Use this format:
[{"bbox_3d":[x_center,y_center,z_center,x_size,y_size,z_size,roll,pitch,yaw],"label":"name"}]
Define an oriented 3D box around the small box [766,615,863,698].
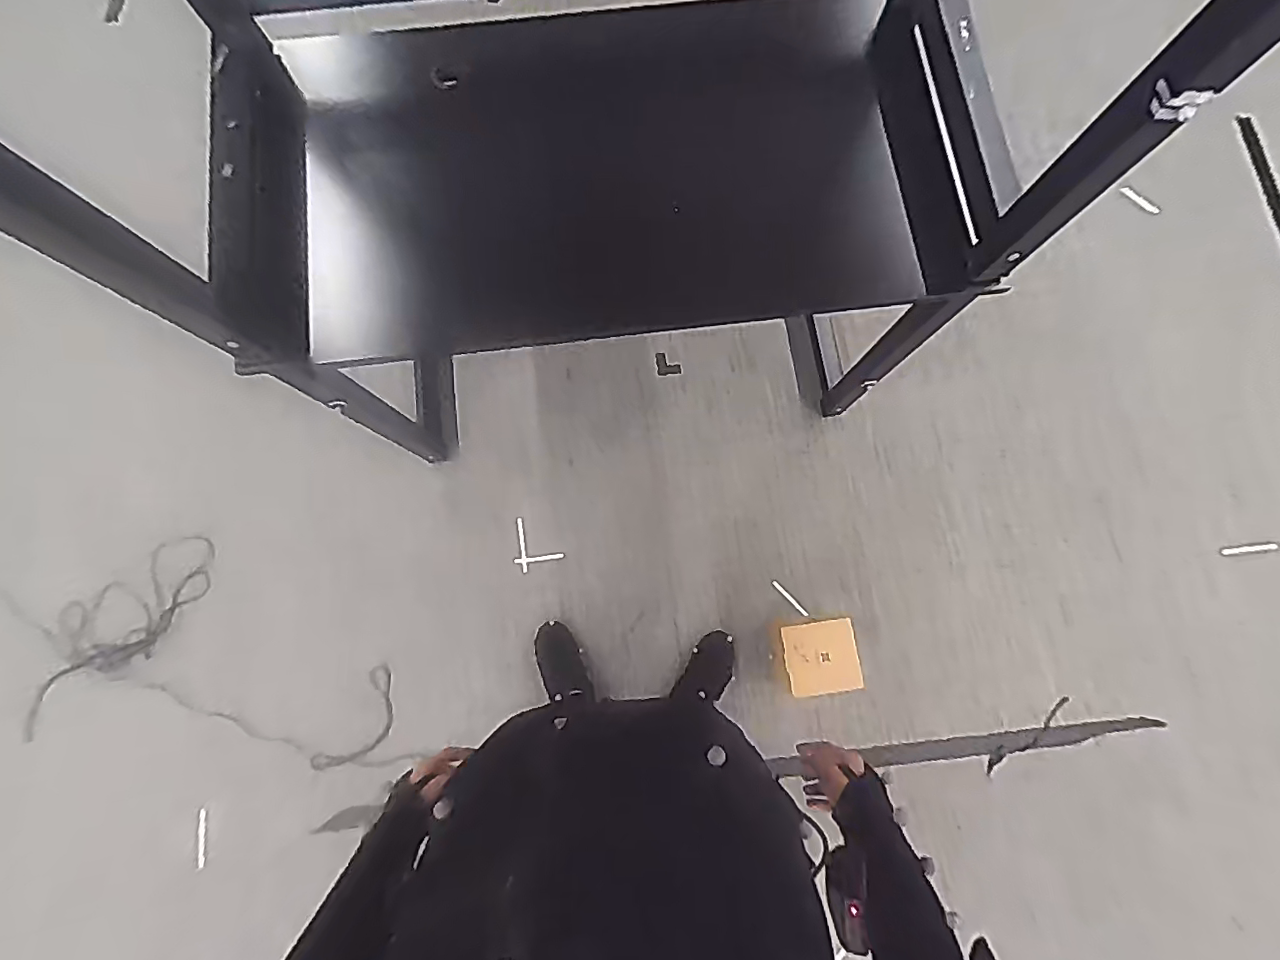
[{"bbox_3d":[0.432,0.437,1.364,0.179,0.176,0.168,-8,80,0],"label":"small box"}]
